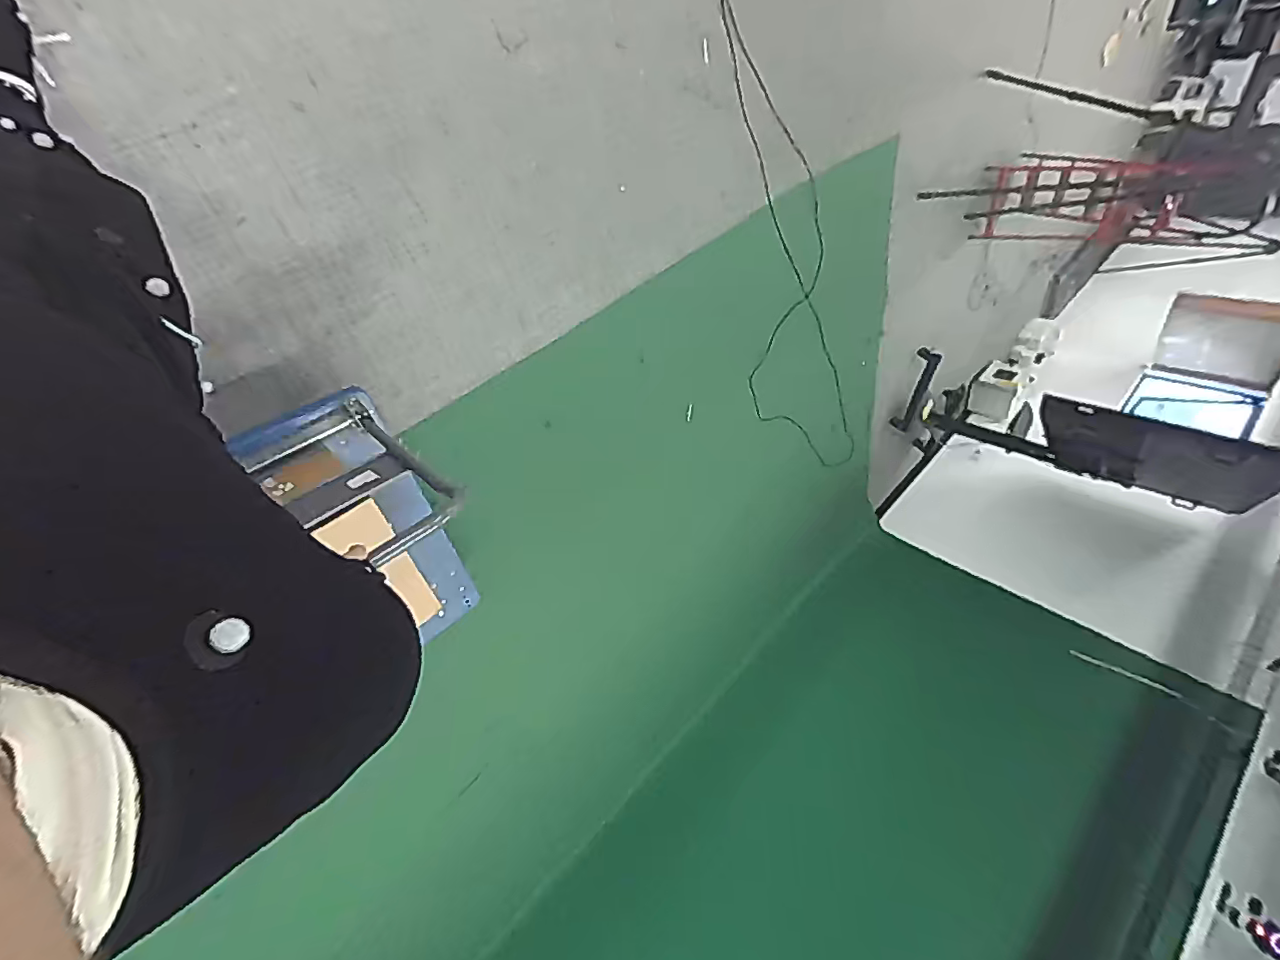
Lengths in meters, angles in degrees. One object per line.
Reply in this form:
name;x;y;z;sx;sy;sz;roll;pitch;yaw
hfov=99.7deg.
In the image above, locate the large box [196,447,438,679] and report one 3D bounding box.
large box;-0.778;0.196;1.332;0.320;0.320;0.408;-36;135;-26
